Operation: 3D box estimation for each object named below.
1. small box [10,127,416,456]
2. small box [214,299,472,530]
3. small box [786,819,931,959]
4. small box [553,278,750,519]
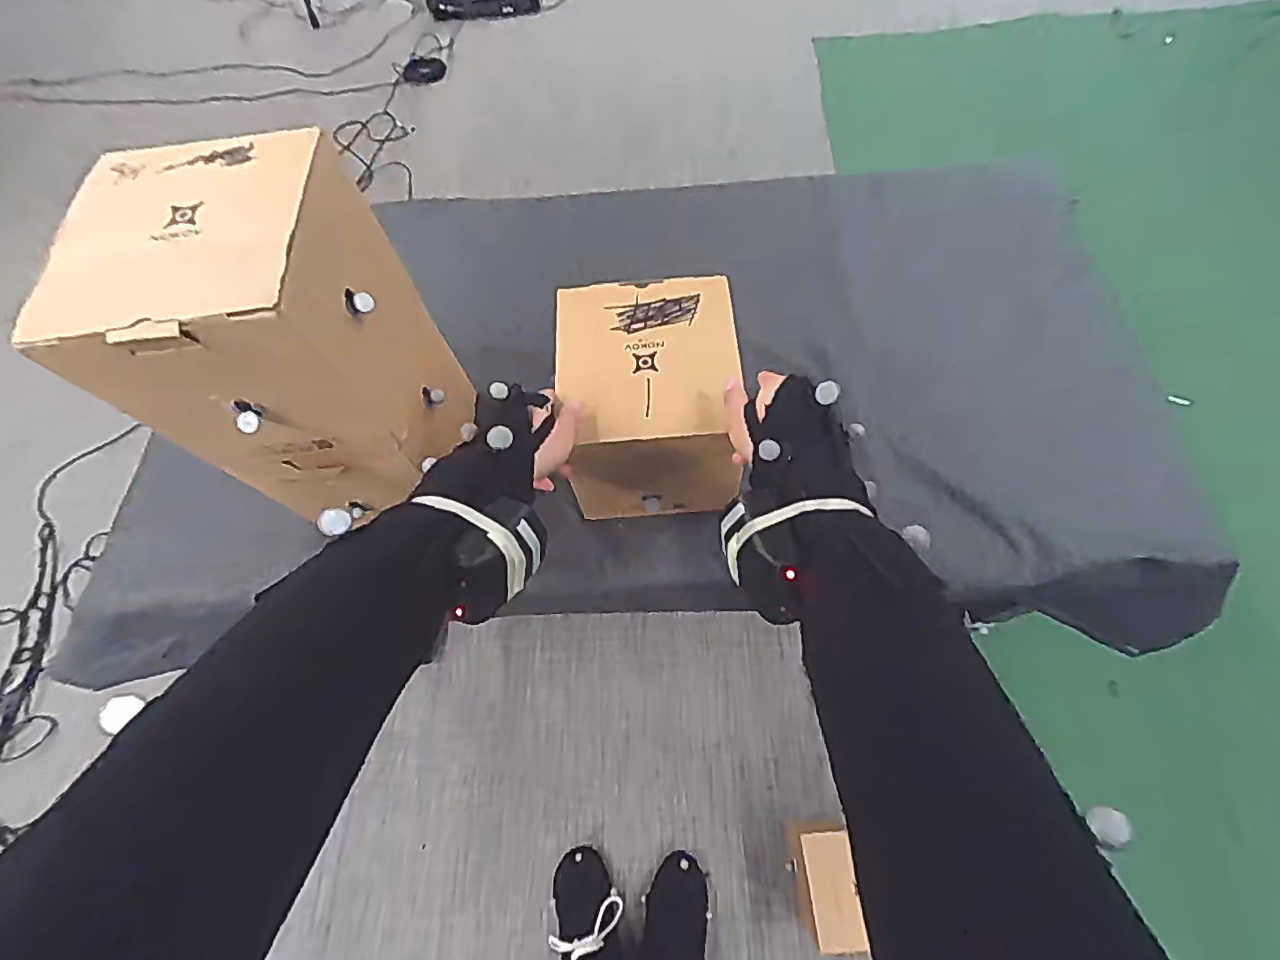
[{"bbox_3d":[-0.293,-0.129,0.422,0.168,0.176,0.179,-7,66,1],"label":"small box"},{"bbox_3d":[-0.287,-0.061,0.571,0.168,0.176,0.179,-5,65,1],"label":"small box"},{"bbox_3d":[0.373,0.712,0.959,0.179,0.176,0.168,-6,63,2],"label":"small box"},{"bbox_3d":[0.012,-0.075,0.550,0.168,0.176,0.179,-4,64,3],"label":"small box"}]
